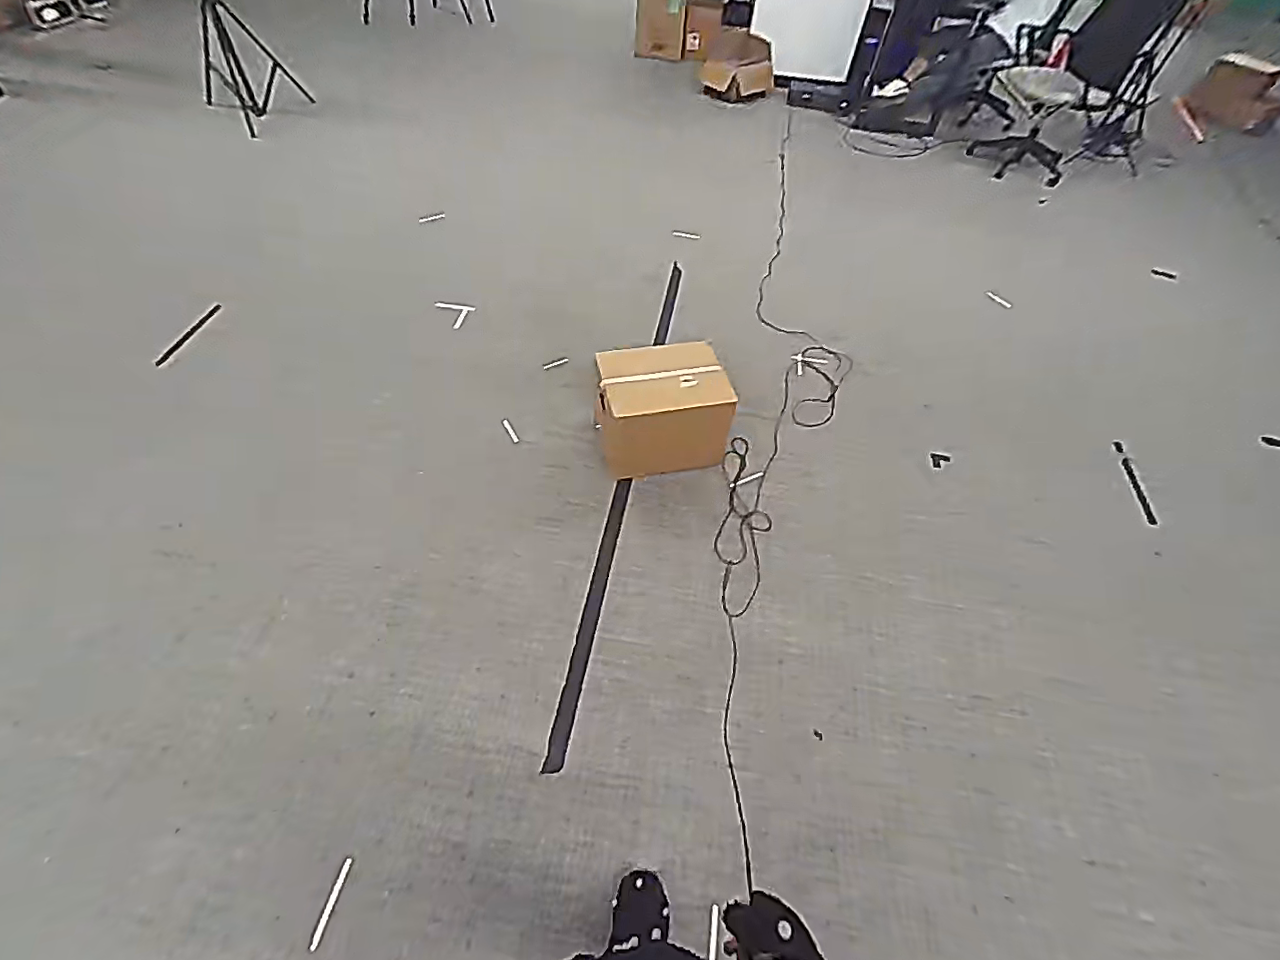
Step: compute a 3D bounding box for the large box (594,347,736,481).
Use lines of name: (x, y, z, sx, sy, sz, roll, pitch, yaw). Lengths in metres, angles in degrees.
large box: (0.067, -0.229, 1.874, 0.408, 0.320, 0.320, -8, 53, -12)
